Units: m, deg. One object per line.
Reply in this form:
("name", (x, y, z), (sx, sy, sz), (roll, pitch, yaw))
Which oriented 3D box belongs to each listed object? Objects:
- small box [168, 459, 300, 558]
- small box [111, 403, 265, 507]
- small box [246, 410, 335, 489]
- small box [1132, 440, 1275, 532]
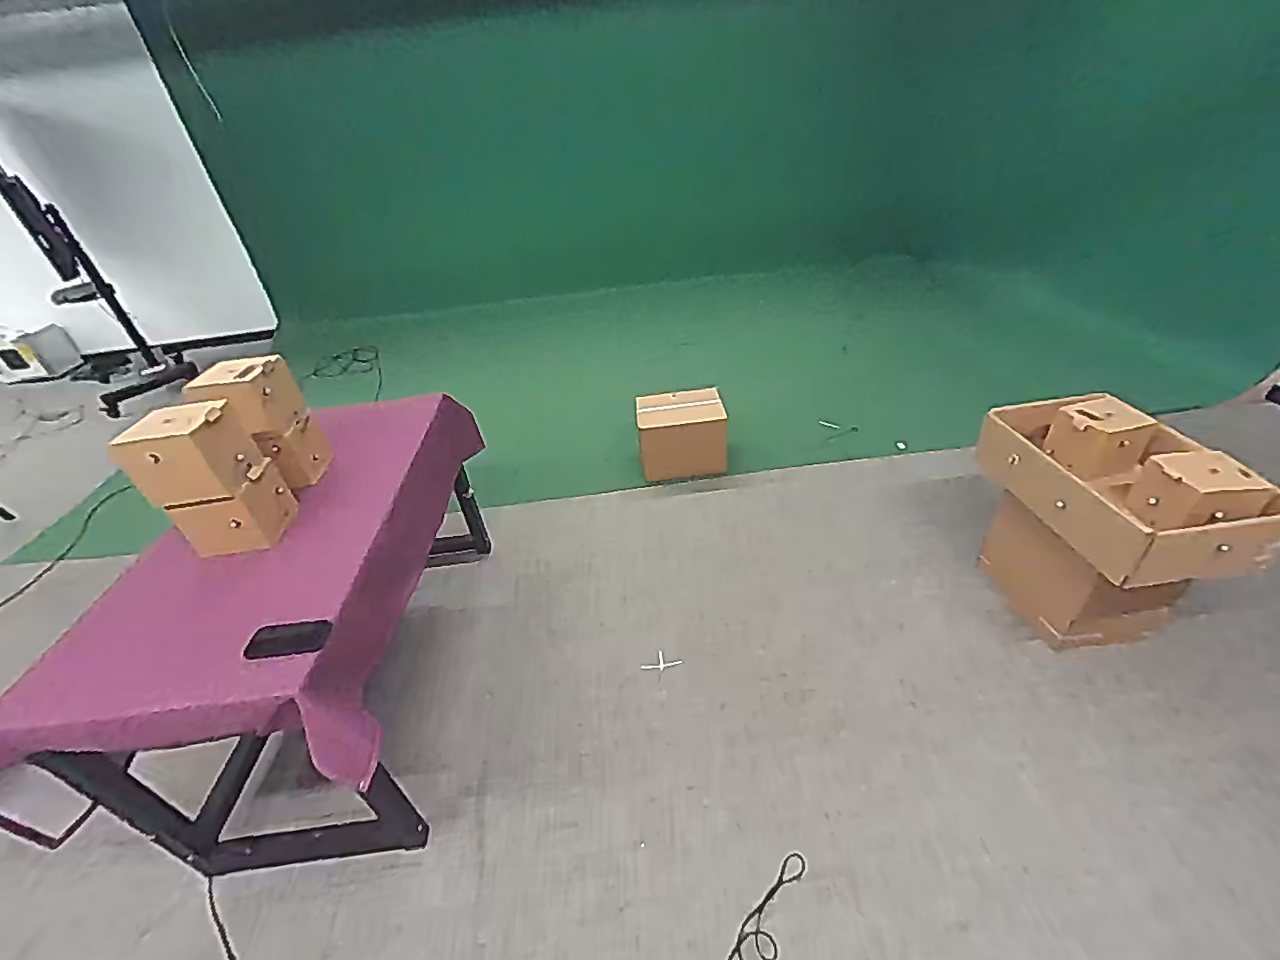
("small box", (-0.991, 0.071, 1.343), (0.179, 0.176, 0.168), (-9, 35, 0))
("small box", (-1.019, -0.055, 1.239), (0.179, 0.176, 0.168), (-9, 36, -1))
("small box", (-1.024, -0.081, 1.558), (0.179, 0.176, 0.168), (-8, 36, -1))
("small box", (1.422, 0.018, 1.386), (0.179, 0.176, 0.168), (-5, 36, 6))
